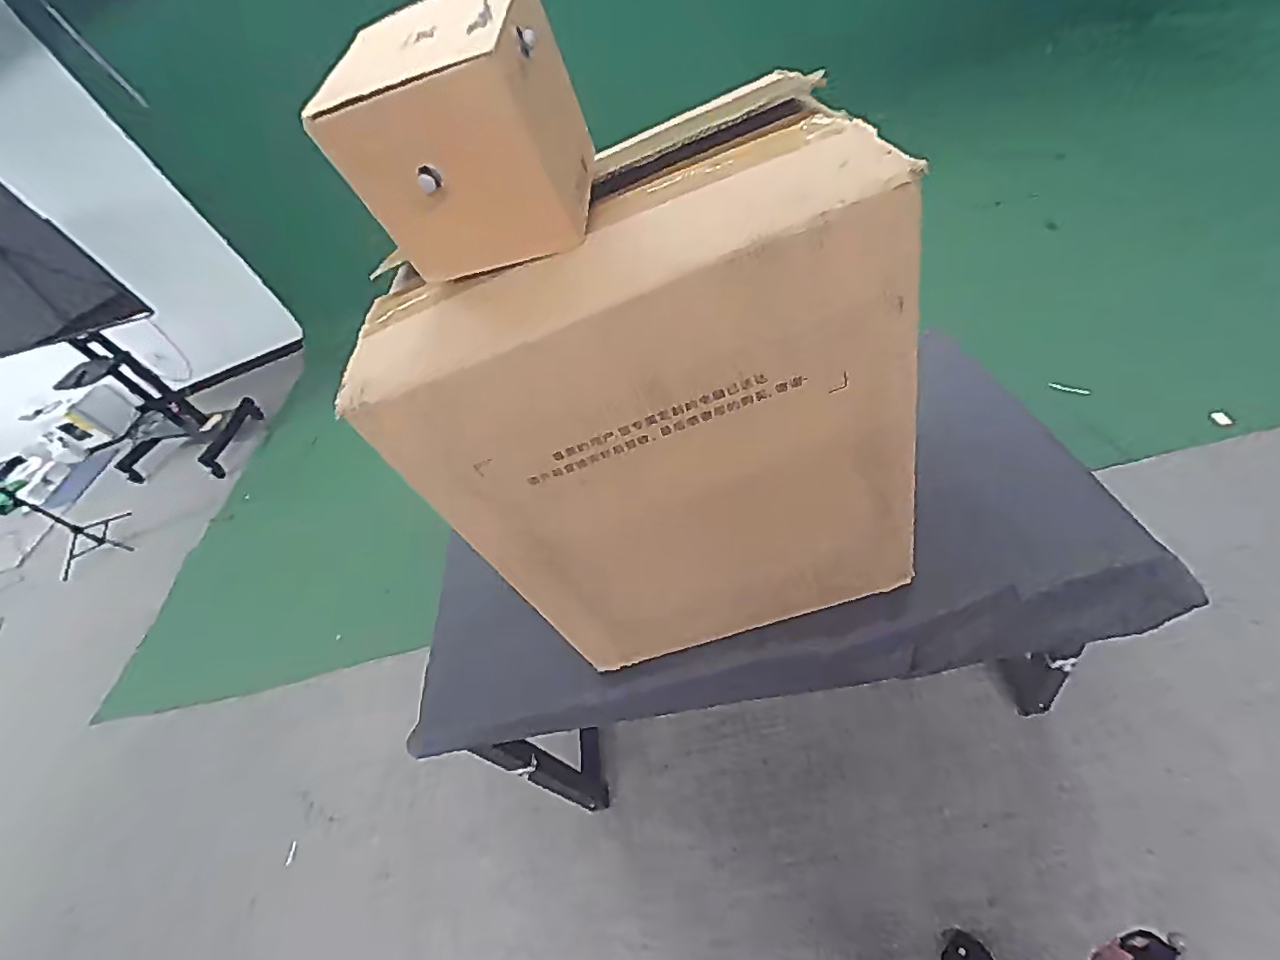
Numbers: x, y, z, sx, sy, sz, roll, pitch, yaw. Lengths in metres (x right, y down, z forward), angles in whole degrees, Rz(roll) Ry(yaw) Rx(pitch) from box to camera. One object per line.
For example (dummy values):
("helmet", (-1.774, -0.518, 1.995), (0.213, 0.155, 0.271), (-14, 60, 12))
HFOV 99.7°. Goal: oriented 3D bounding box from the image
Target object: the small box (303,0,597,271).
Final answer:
("small box", (-0.157, -0.325, 0.508), (0.179, 0.176, 0.168), (-7, 60, 17))
